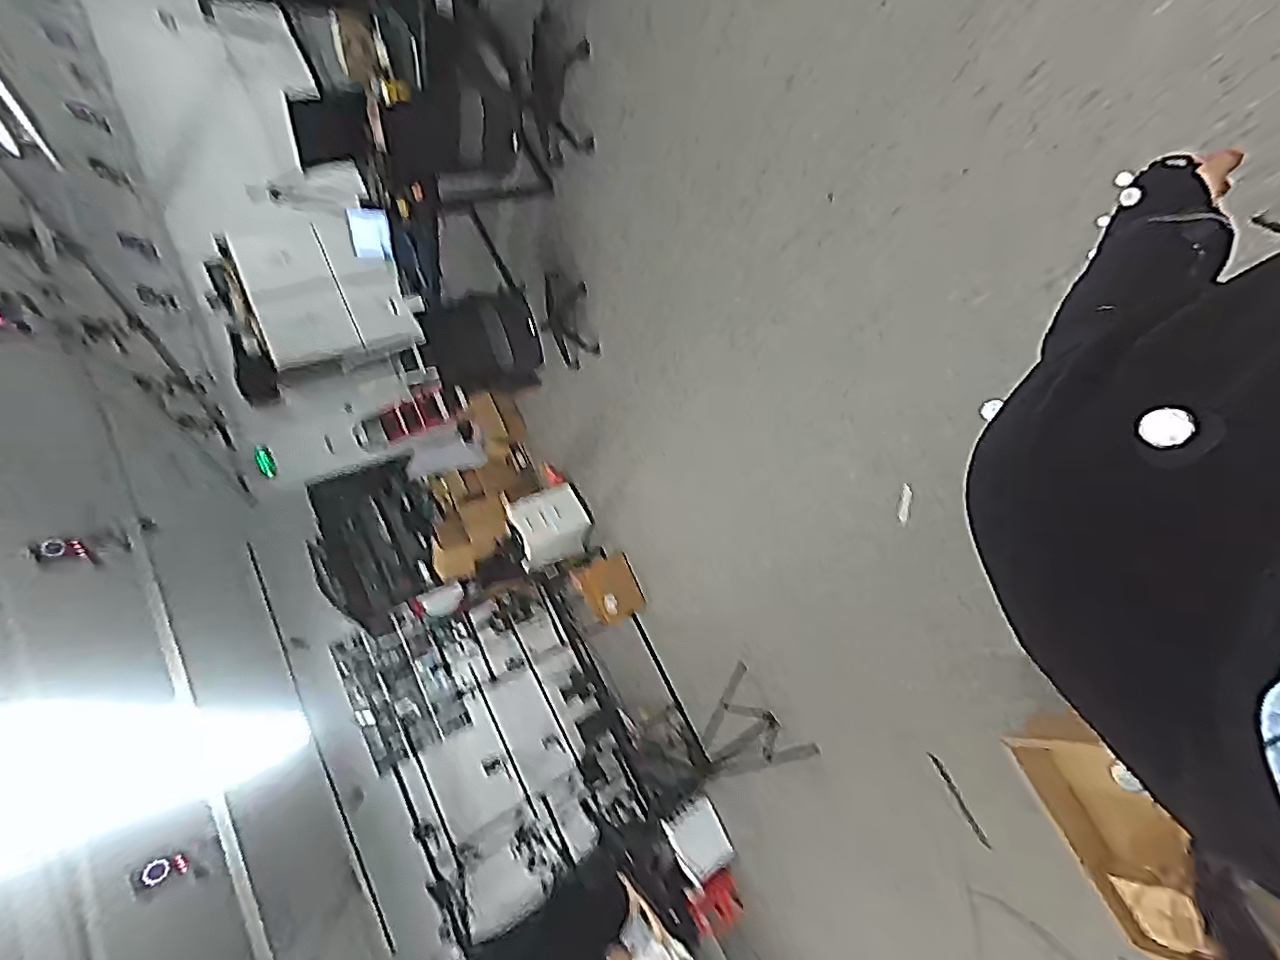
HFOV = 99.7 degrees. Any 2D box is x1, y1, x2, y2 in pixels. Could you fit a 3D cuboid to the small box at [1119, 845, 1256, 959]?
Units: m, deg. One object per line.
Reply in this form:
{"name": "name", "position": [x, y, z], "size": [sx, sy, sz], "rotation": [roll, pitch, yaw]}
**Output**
{"name": "small box", "position": [1.406, 1.075, 1.384], "size": [0.168, 0.176, 0.179], "rotation": [62, 154, 14]}
